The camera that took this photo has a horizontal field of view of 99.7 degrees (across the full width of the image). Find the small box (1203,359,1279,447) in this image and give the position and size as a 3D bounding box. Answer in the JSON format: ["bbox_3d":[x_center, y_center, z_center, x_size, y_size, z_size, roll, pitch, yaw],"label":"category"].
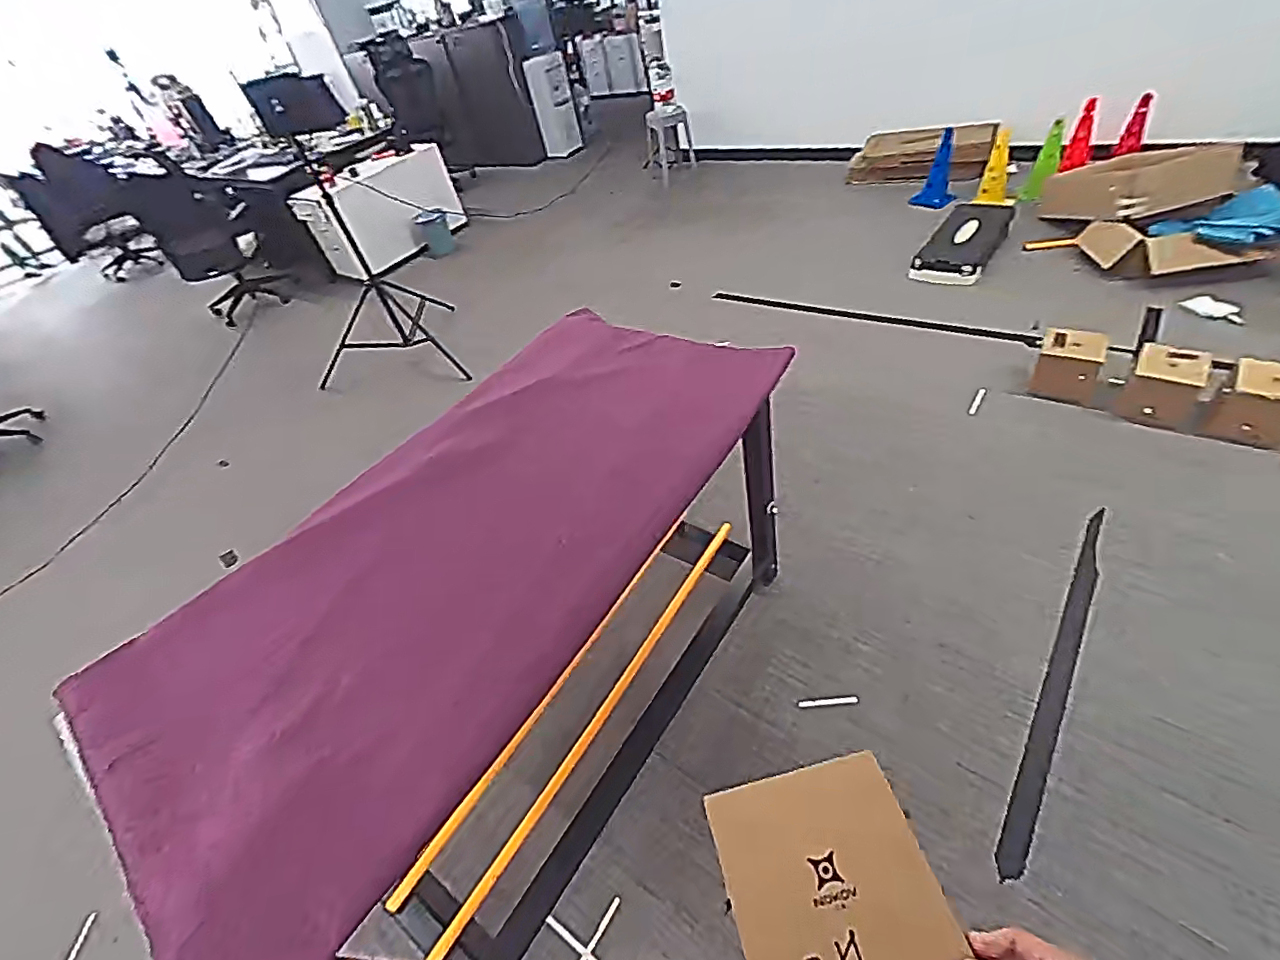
[{"bbox_3d":[1.825,-0.228,1.602,0.168,0.176,0.179,22,56,31],"label":"small box"}]

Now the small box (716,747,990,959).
[{"bbox_3d":[0.174,0.378,0.488,0.168,0.176,0.179,-15,43,0],"label":"small box"}]

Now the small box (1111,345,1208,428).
[{"bbox_3d":[1.640,-0.297,1.714,0.168,0.176,0.179,24,57,32],"label":"small box"}]
